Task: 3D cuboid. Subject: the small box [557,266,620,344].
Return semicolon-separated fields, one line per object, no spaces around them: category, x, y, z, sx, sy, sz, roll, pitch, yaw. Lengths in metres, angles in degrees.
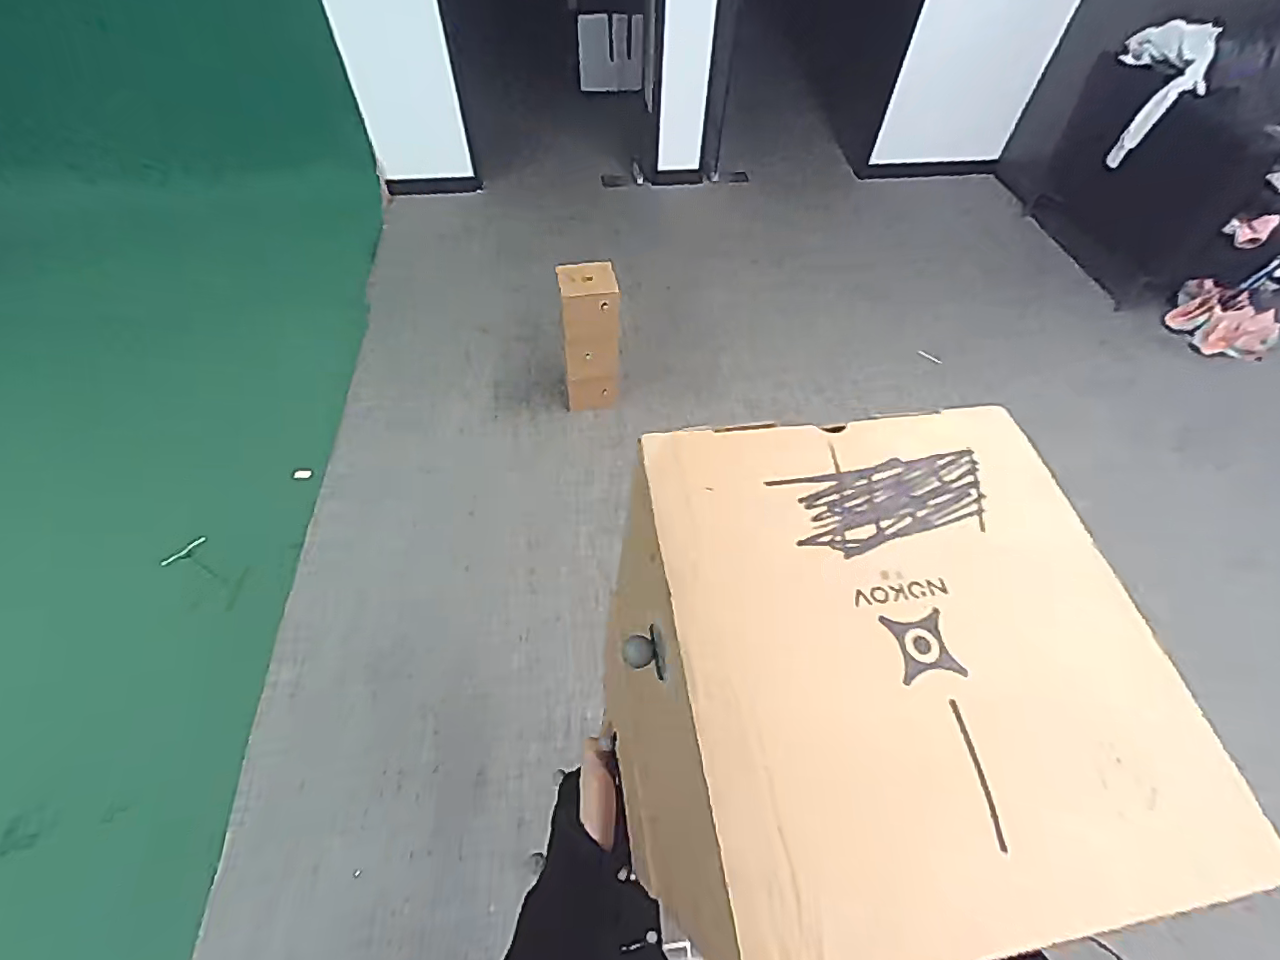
small box;-0.161;-0.551;1.711;0.179;0.176;0.168;-9;53;-7

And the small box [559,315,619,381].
small box;-0.172;-0.455;1.845;0.179;0.176;0.168;-10;55;-7

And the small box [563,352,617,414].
small box;-0.182;-0.361;1.980;0.179;0.176;0.168;-9;54;-7

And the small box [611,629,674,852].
small box;0.062;0.250;0.541;0.168;0.176;0.179;-4;59;-8
